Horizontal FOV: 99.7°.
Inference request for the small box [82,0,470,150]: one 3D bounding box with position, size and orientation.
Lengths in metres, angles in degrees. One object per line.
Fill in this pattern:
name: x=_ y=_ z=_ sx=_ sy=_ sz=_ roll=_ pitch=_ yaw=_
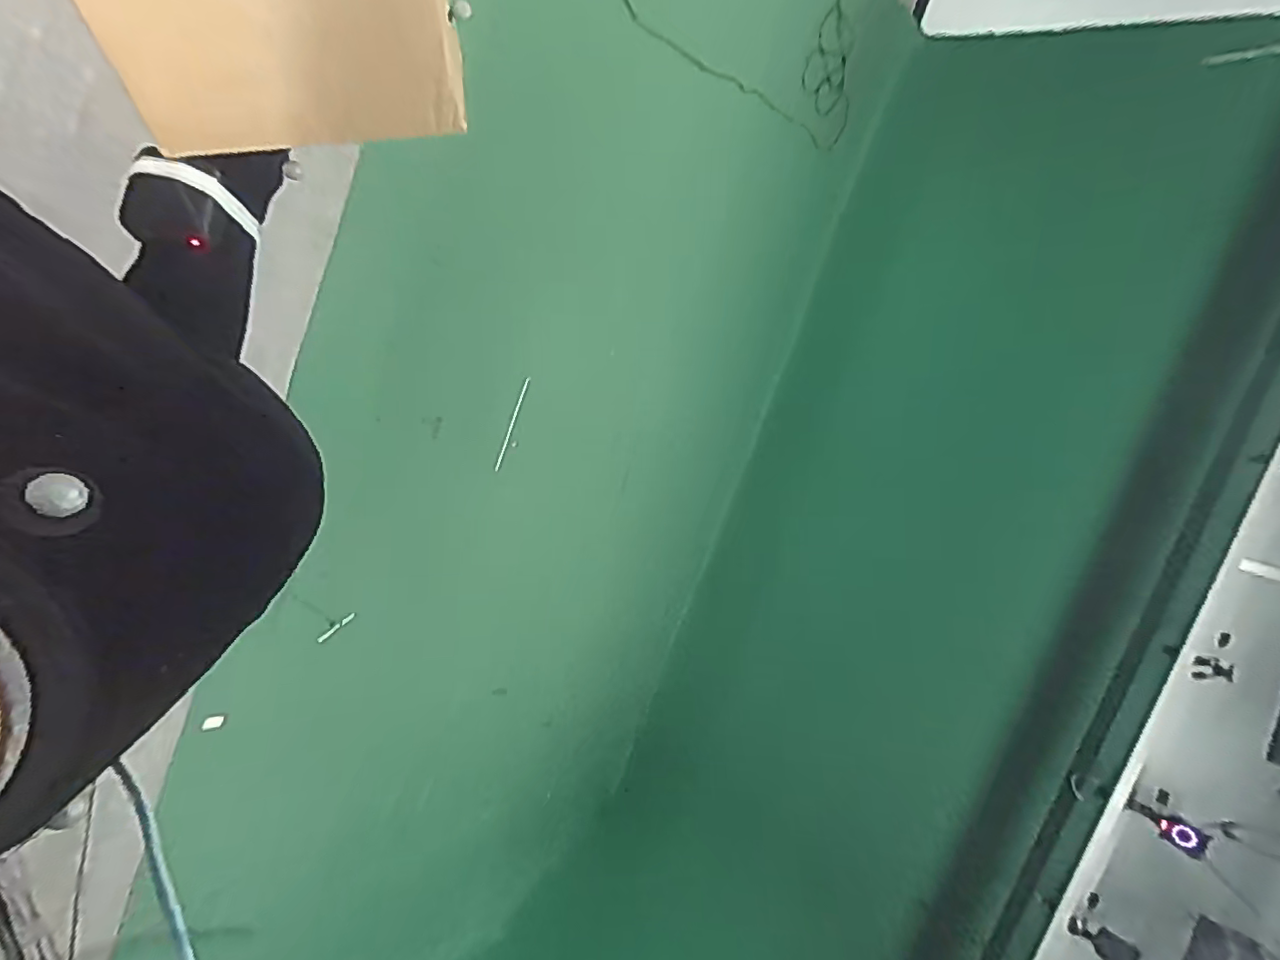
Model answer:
small box: x=-0.200 y=-0.312 z=0.301 sx=0.168 sy=0.179 sz=0.176 roll=-11 pitch=139 yaw=-7
